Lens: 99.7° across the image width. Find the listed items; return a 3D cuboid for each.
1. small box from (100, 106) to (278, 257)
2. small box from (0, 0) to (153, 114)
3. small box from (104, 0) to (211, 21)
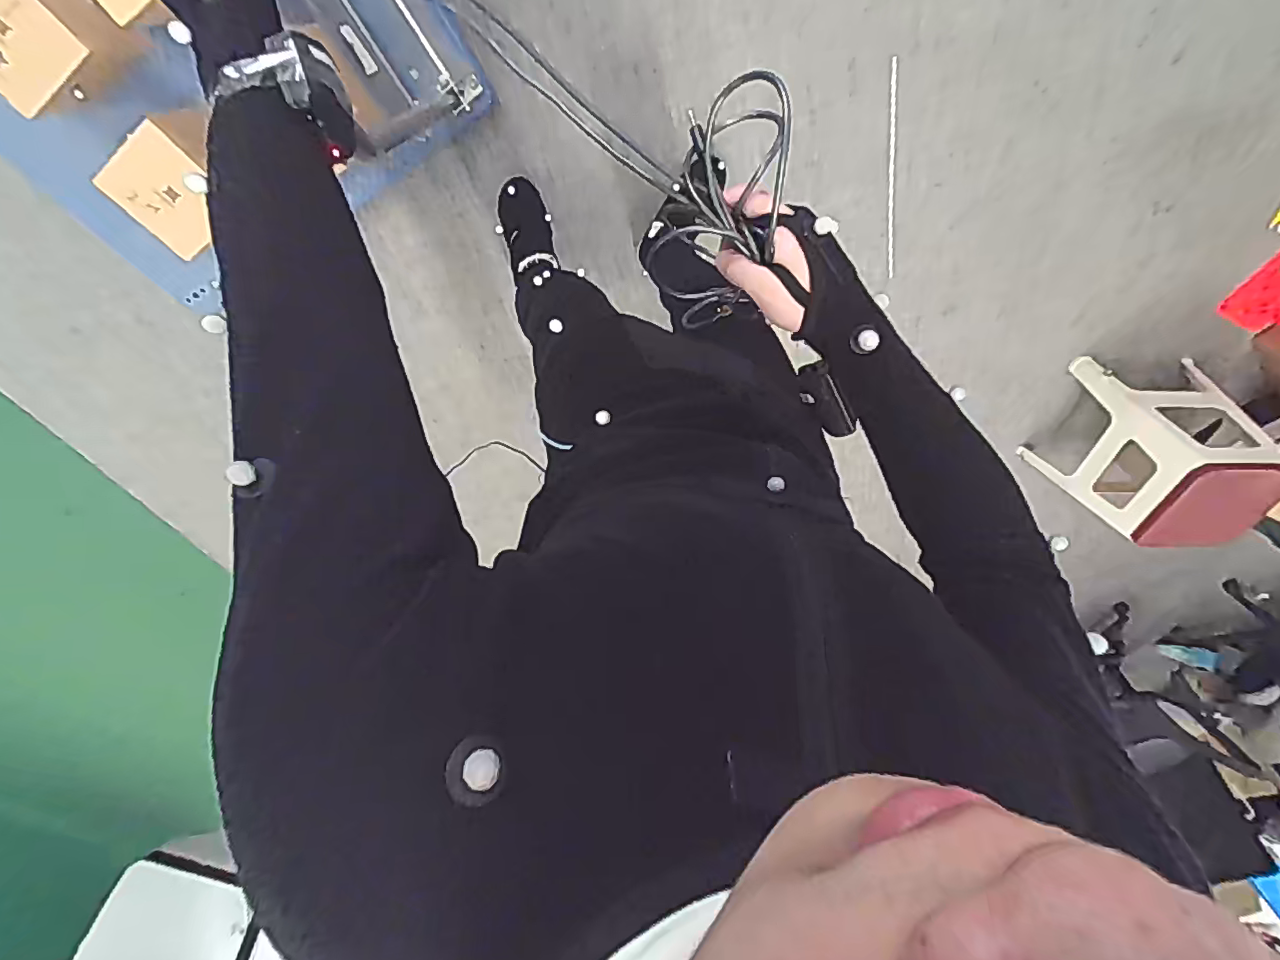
[{"bbox_3d":[-0.822,-0.560,1.011,0.179,0.176,0.168,-26,127,19],"label":"small box"},{"bbox_3d":[-0.944,-0.725,0.858,0.179,0.176,0.168,-25,129,17],"label":"small box"},{"bbox_3d":[-0.727,-0.815,0.791,0.179,0.176,0.168,-22,129,15],"label":"small box"}]
